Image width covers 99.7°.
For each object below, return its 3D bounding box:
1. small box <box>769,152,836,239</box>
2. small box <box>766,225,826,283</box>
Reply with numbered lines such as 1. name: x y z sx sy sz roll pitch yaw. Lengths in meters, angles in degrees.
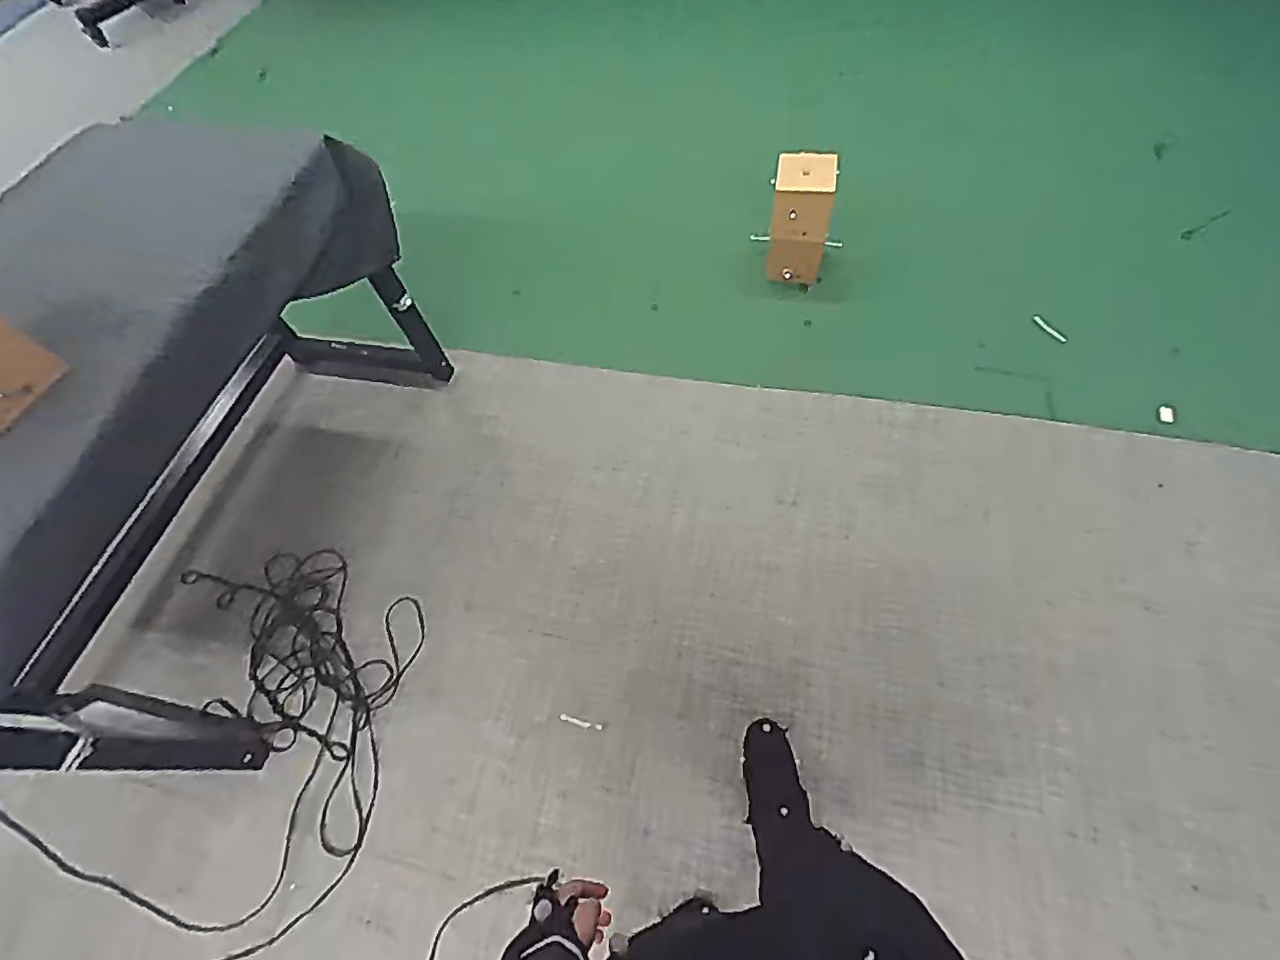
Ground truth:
1. small box: 0.483 -0.849 1.620 0.168 0.176 0.179 7 62 10
2. small box: 0.507 -0.775 1.763 0.168 0.176 0.179 8 64 11
